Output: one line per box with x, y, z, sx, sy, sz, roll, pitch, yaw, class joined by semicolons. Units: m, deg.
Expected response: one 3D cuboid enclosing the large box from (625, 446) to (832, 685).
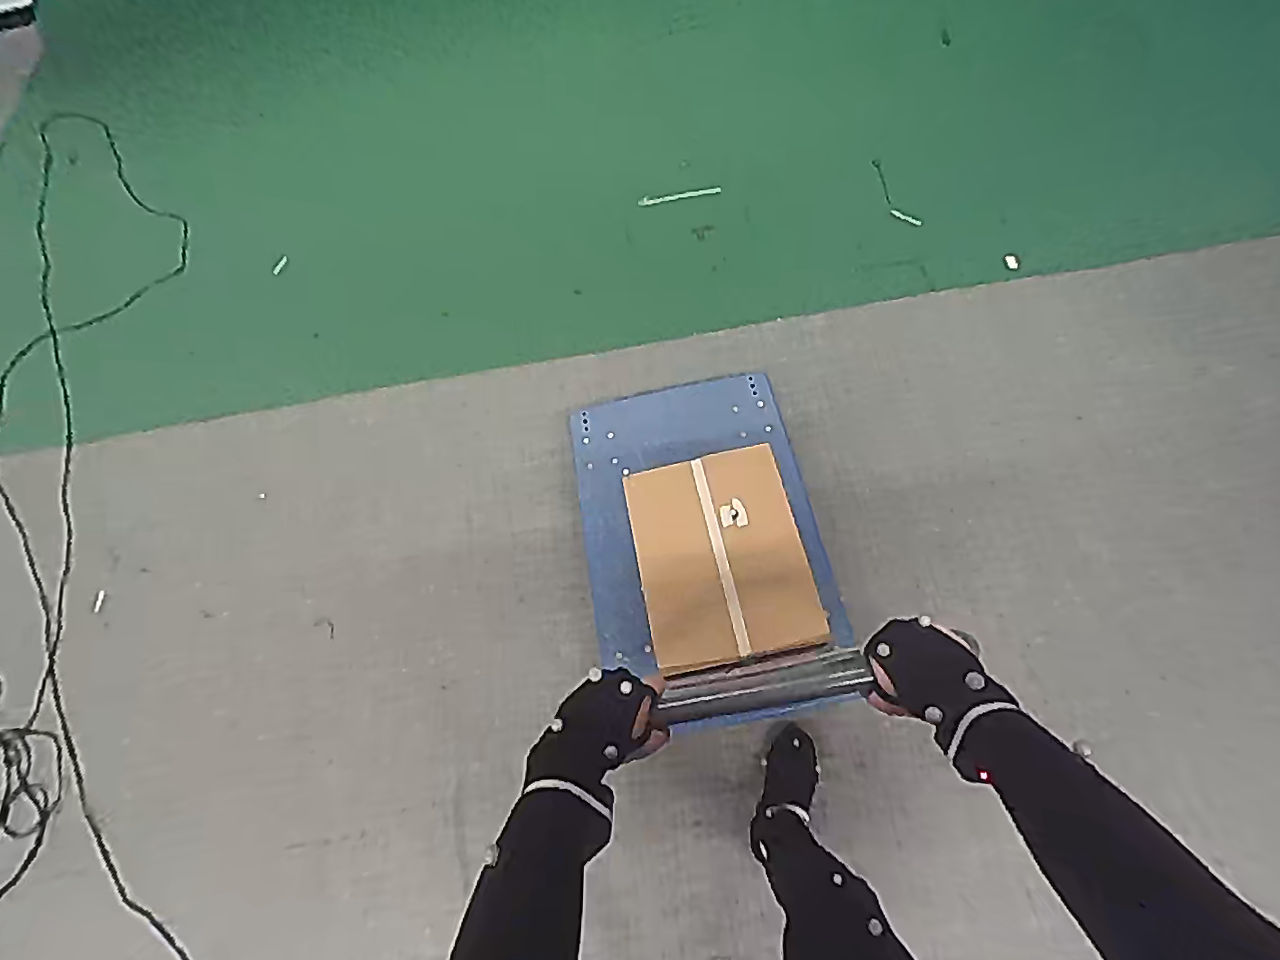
0.176;0.199;1.174;0.320;0.320;0.408;-13;65;2;large box
